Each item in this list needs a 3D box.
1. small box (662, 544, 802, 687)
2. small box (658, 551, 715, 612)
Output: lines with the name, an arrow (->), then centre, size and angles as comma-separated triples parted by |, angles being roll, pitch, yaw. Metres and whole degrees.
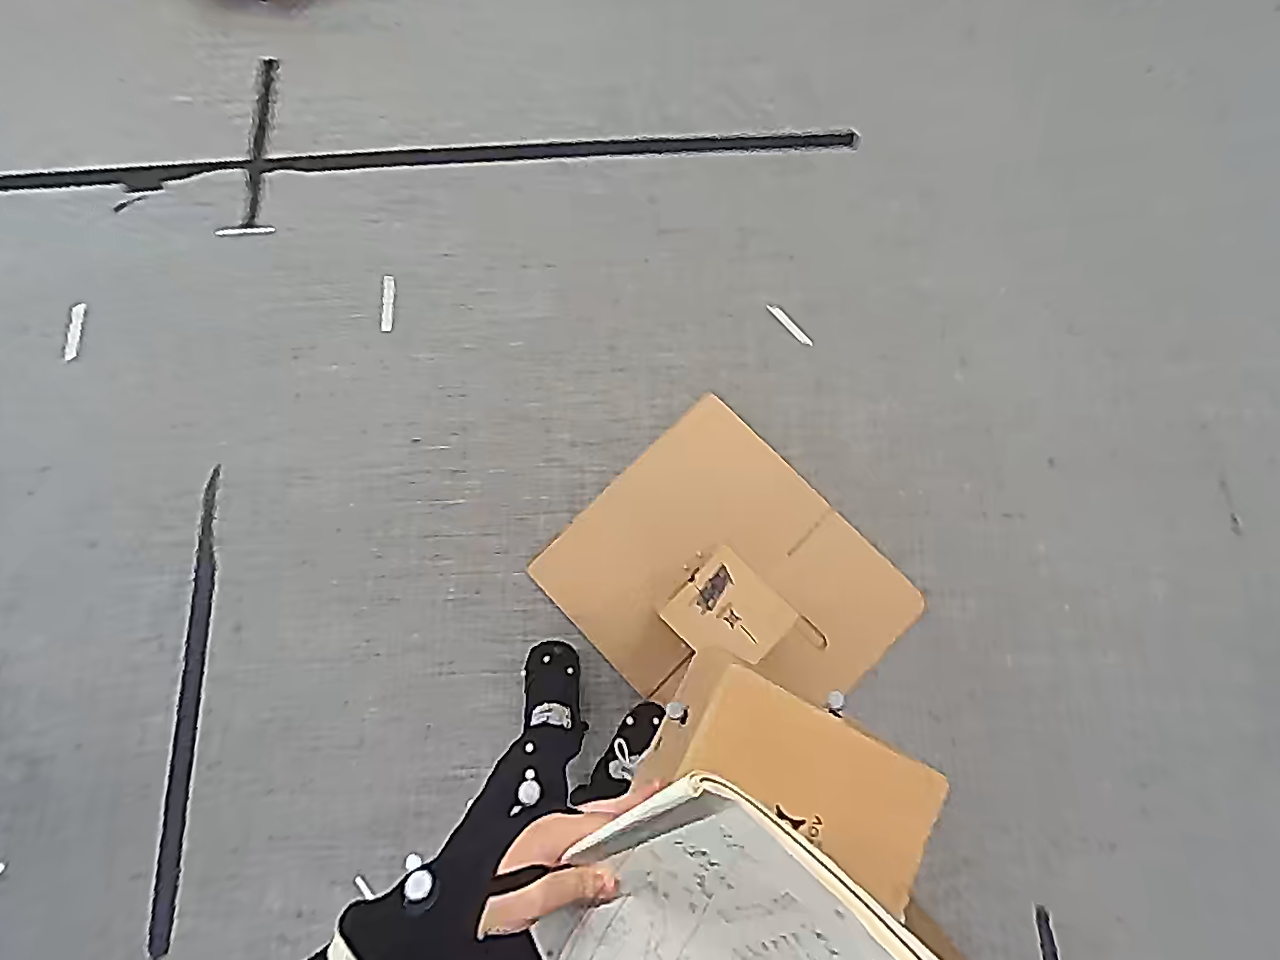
small box -> 0.152, 0.236, 0.972 | 0.179, 0.176, 0.168 | 44, 84, 6
small box -> 0.154, 0.264, 1.134 | 0.179, 0.176, 0.168 | 43, 84, 6
